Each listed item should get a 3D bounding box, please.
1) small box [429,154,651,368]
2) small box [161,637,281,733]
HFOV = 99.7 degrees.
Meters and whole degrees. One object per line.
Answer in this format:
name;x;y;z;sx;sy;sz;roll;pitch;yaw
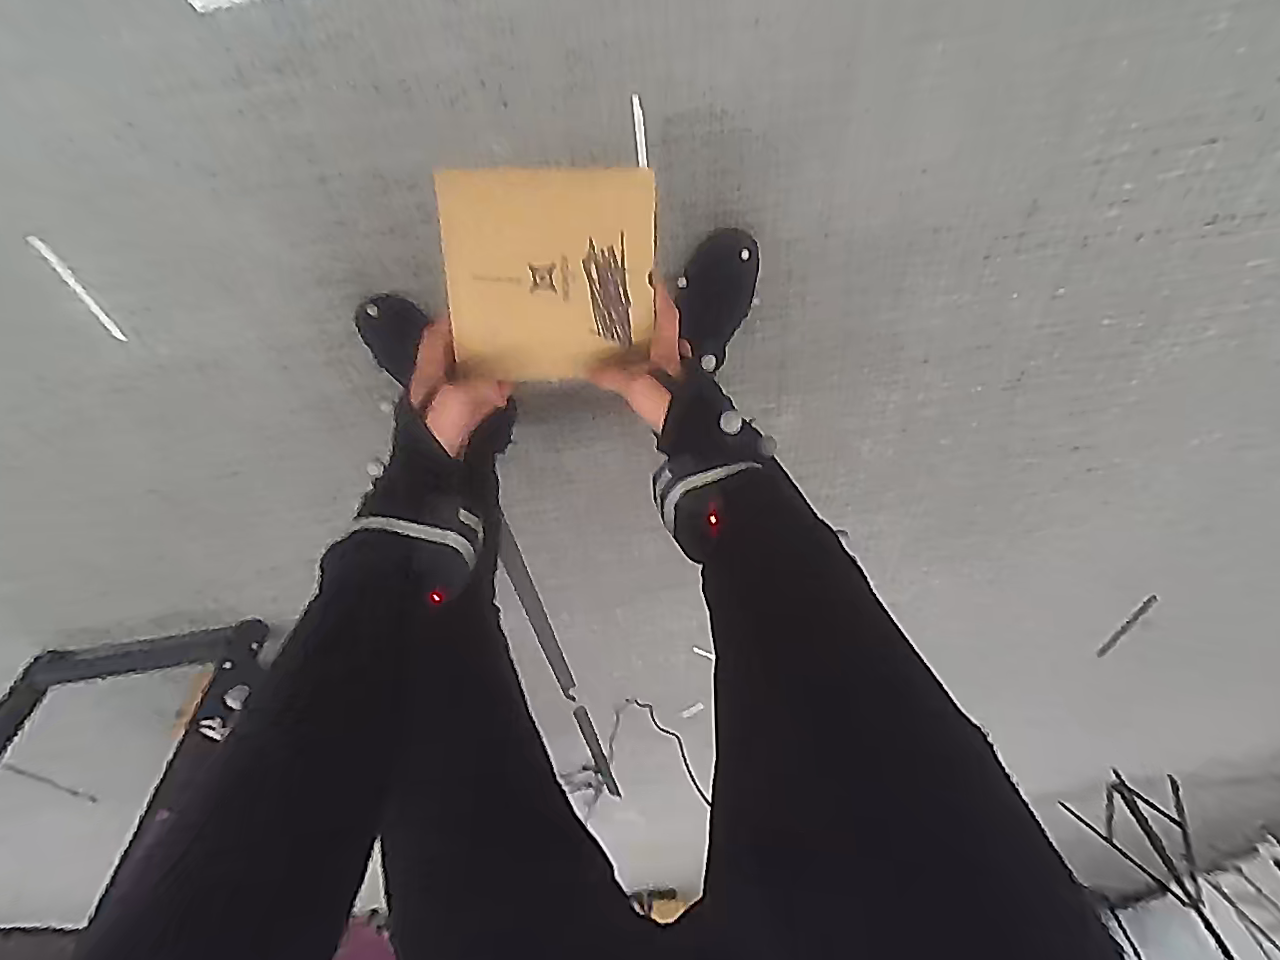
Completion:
small box;-0.086;-0.203;0.526;0.179;0.176;0.168;-2;109;-5
small box;-1.106;0.547;1.444;0.179;0.176;0.168;-29;132;21
